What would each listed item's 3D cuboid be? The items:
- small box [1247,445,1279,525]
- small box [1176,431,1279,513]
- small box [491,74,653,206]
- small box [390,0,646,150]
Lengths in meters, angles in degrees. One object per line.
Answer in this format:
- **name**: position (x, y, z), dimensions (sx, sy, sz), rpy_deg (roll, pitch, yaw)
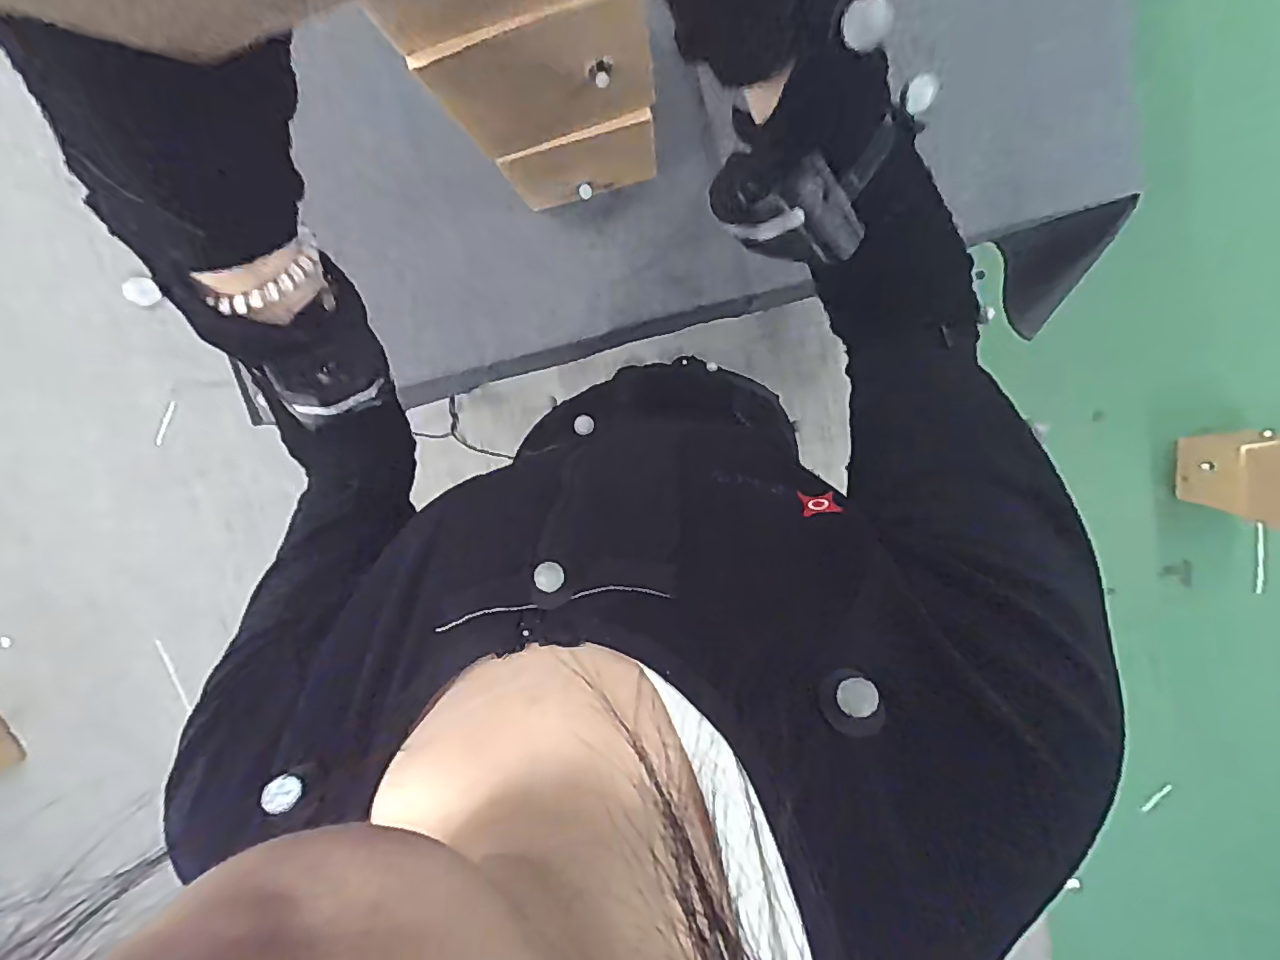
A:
- **small box**: position (1.484, 0.010, 1.169), dimensions (0.168, 0.176, 0.179), rpy_deg (-9, 101, 5)
- **small box**: position (1.481, -0.025, 1.330), dimensions (0.179, 0.176, 0.168), rpy_deg (-8, 100, 4)
- **small box**: position (-0.083, -0.435, 0.597), dimensions (0.168, 0.176, 0.179), rpy_deg (-12, 100, 6)
- **small box**: position (-0.097, -0.407, 0.437), dimensions (0.179, 0.176, 0.168), rpy_deg (-15, 98, 6)
